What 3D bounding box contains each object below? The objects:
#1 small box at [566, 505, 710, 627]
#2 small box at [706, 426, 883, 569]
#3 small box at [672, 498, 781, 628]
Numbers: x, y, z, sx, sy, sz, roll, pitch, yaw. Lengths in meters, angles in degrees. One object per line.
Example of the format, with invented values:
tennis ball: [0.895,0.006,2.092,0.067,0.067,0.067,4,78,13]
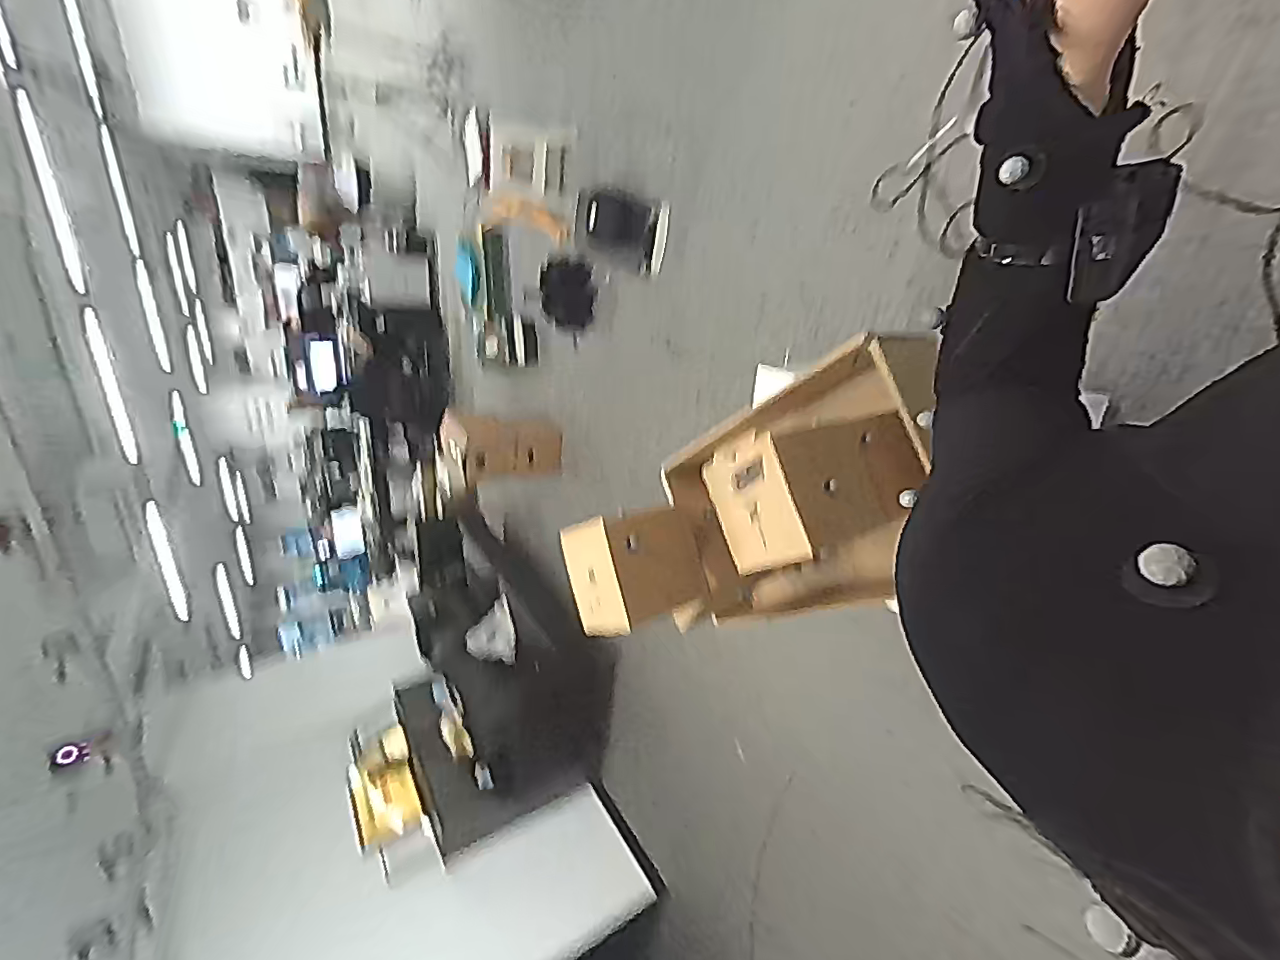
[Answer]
small box: [-0.005,0.148,0.951,0.168,0.176,0.179,-25,80,56]
small box: [0.238,0.024,0.843,0.168,0.176,0.179,-33,73,58]
small box: [0.134,0.149,1.045,0.179,0.176,0.168,54,140,29]
